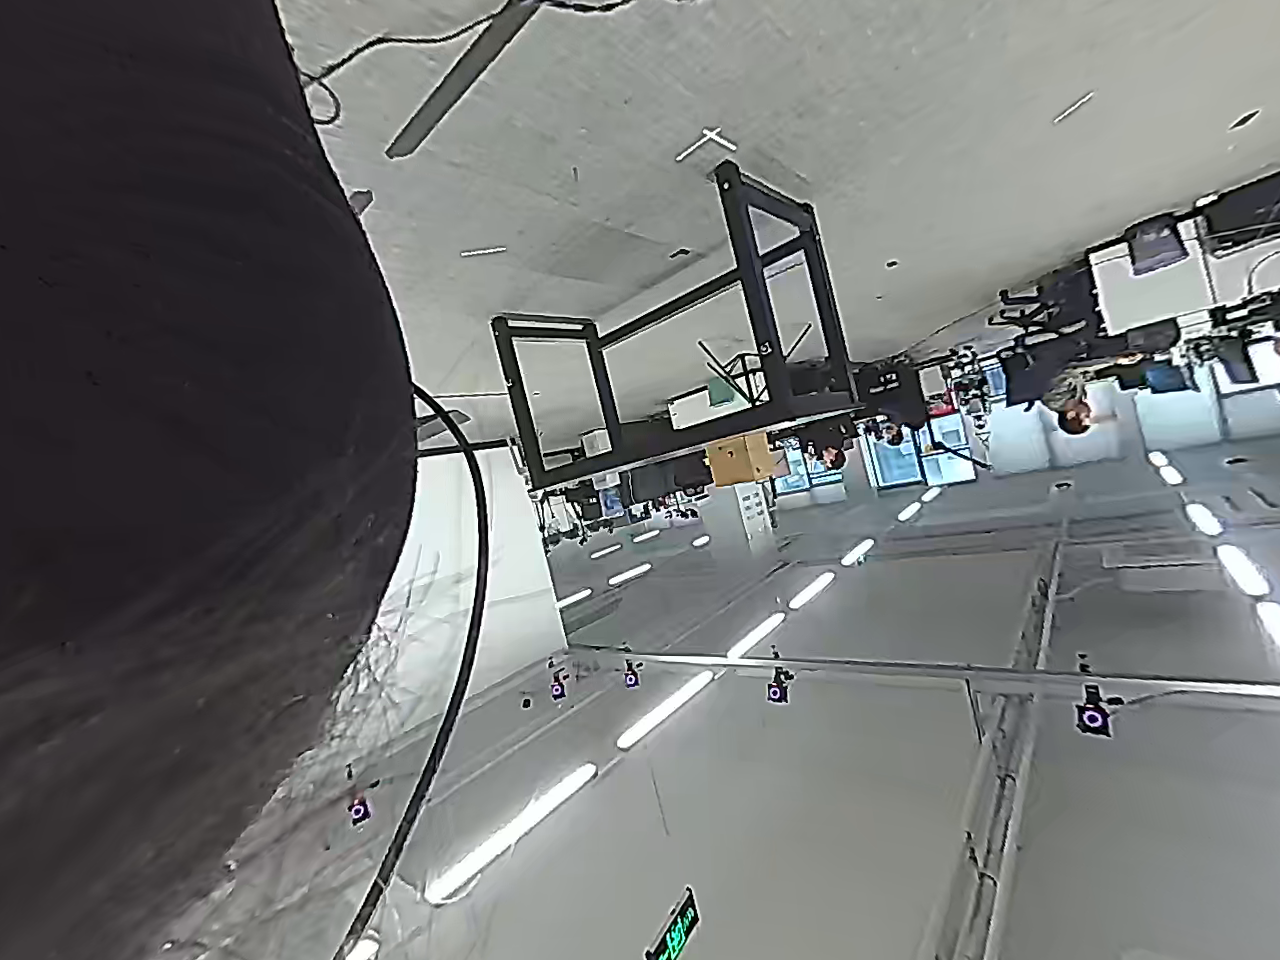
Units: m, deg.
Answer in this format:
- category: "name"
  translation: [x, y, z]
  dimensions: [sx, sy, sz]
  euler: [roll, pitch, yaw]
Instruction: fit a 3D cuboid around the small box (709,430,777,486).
- category: "small box"
  translation: [0.380, -0.084, 1.996]
  dimensions: [0.168, 0.176, 0.179]
  euler: [-14, 180, 40]
